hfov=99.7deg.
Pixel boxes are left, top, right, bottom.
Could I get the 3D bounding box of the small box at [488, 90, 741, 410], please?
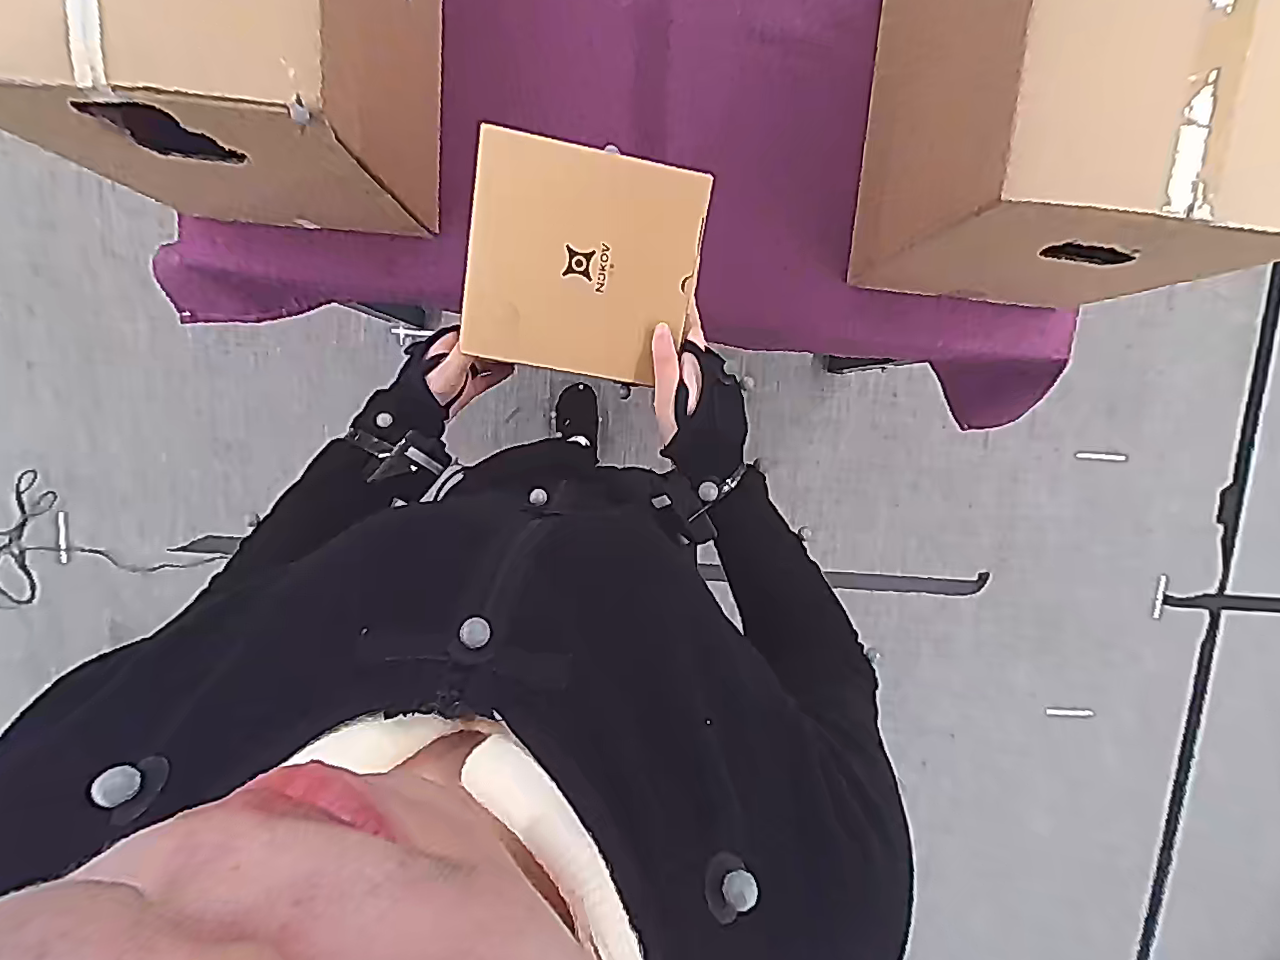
[{"bbox_3d":[-0.029,-0.169,0.456,0.168,0.176,0.179,4,83,-26],"label":"small box"}]
